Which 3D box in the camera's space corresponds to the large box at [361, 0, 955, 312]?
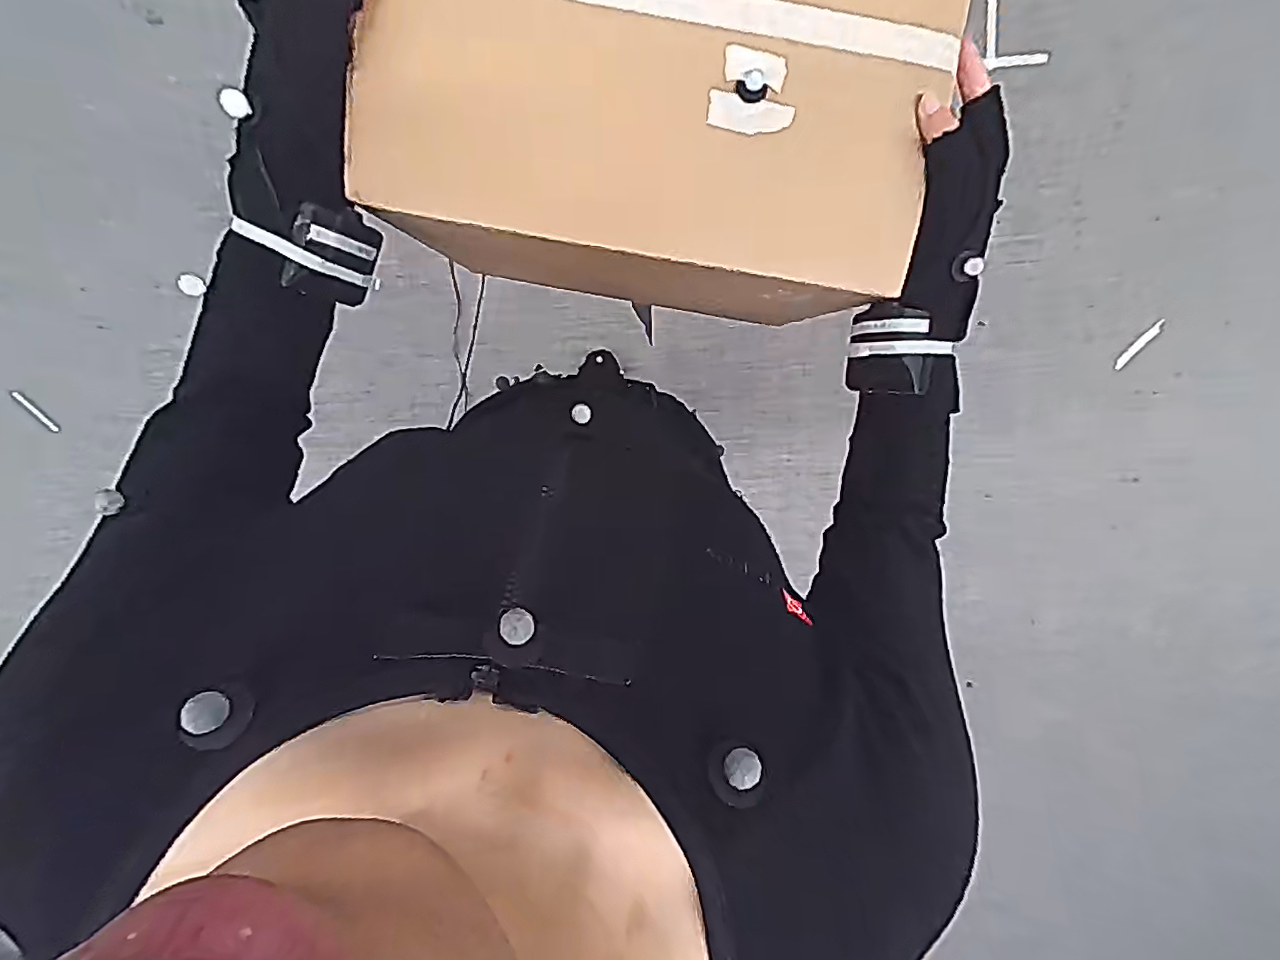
[{"bbox_3d":[0.010,-0.359,0.513,0.408,0.320,0.320,8,102,-4],"label":"large box"}]
